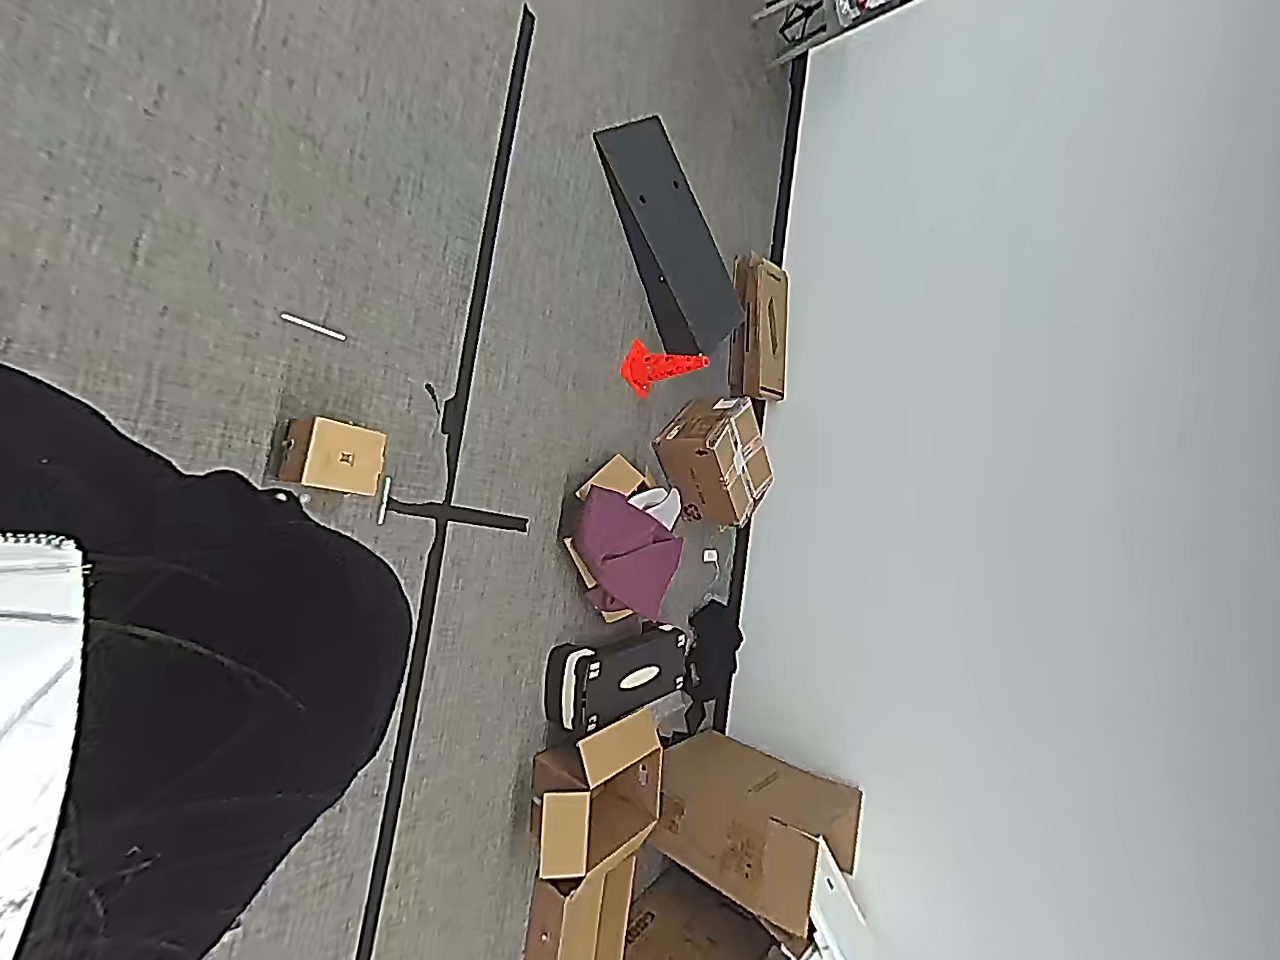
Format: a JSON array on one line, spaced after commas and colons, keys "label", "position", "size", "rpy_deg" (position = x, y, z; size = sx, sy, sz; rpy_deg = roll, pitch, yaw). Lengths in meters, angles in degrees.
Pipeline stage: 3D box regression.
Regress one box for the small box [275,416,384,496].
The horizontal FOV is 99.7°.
[{"label": "small box", "position": [-0.783, -0.059, 1.364], "size": [0.179, 0.176, 0.168], "rpy_deg": [16, 79, -49]}]
